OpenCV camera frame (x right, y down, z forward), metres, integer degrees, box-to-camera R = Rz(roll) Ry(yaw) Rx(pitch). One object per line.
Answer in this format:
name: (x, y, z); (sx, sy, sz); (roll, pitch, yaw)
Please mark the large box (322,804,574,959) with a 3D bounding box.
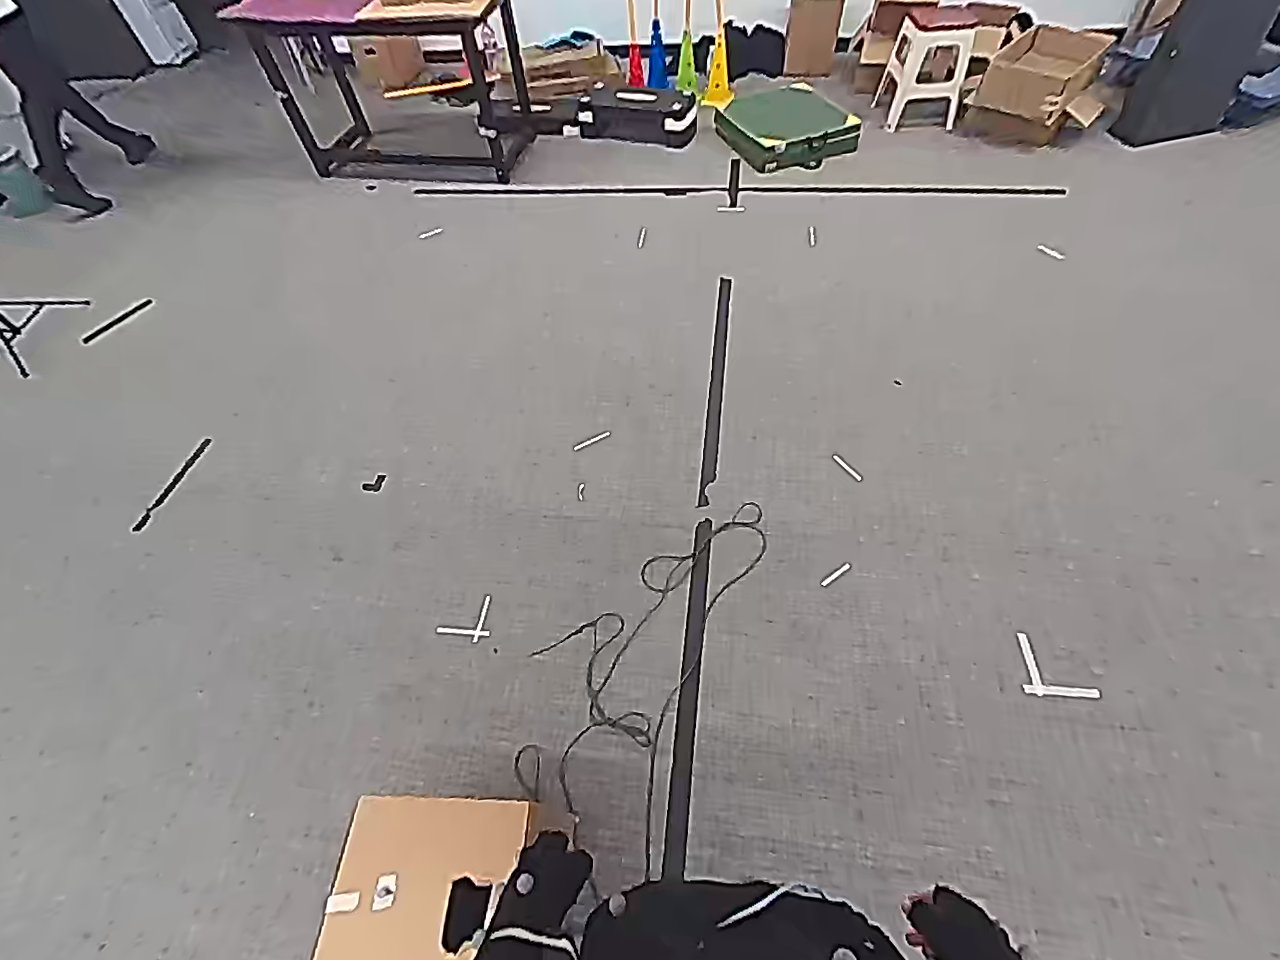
large box: (-0.327, 0.801, 1.021); (0.320, 0.408, 0.320); (0, 56, 6)
